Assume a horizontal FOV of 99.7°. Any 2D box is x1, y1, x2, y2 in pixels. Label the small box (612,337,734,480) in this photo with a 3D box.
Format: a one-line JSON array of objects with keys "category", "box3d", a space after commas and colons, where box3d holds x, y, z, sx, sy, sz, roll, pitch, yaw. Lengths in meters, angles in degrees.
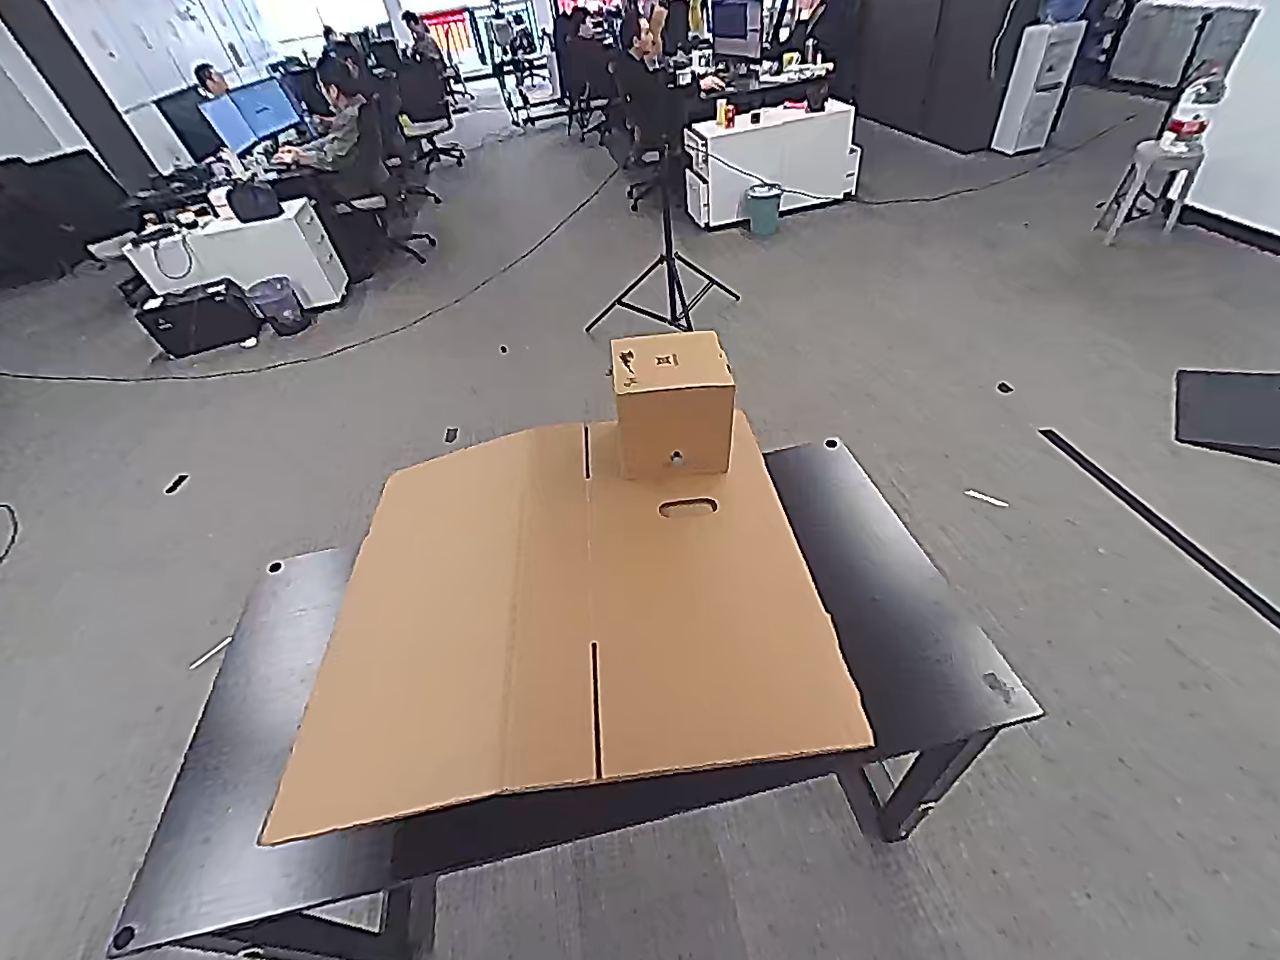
[{"category": "small box", "box3d": [0.046, -0.117, 0.888, 0.179, 0.176, 0.168, -5, 41, -2]}]
